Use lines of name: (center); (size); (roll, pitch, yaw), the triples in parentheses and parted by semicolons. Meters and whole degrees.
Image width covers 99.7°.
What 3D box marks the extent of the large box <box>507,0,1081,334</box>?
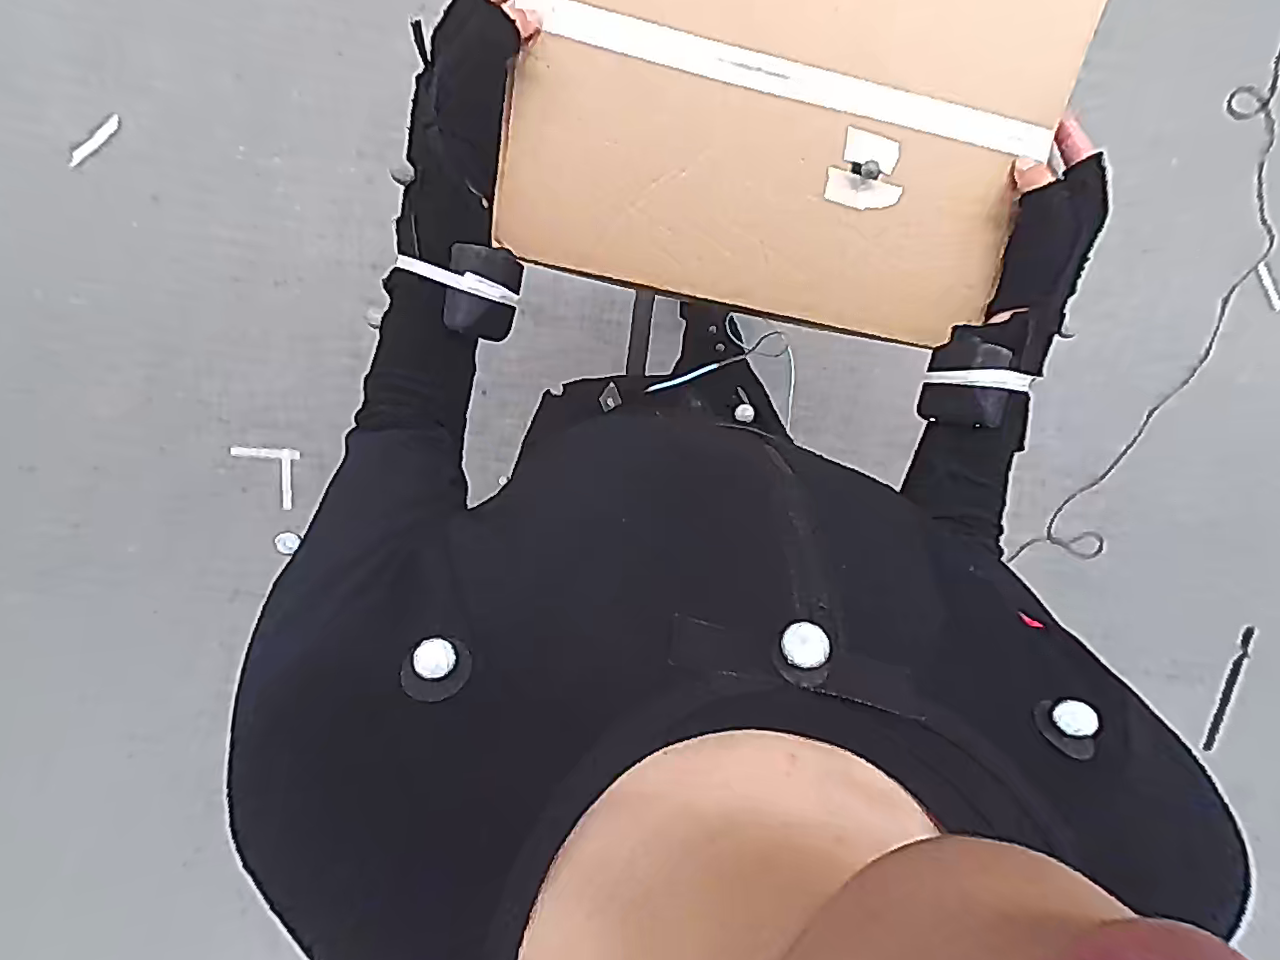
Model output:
large box: (0.102, -0.348, 0.544); (0.408, 0.320, 0.320); (9, 110, -8)
